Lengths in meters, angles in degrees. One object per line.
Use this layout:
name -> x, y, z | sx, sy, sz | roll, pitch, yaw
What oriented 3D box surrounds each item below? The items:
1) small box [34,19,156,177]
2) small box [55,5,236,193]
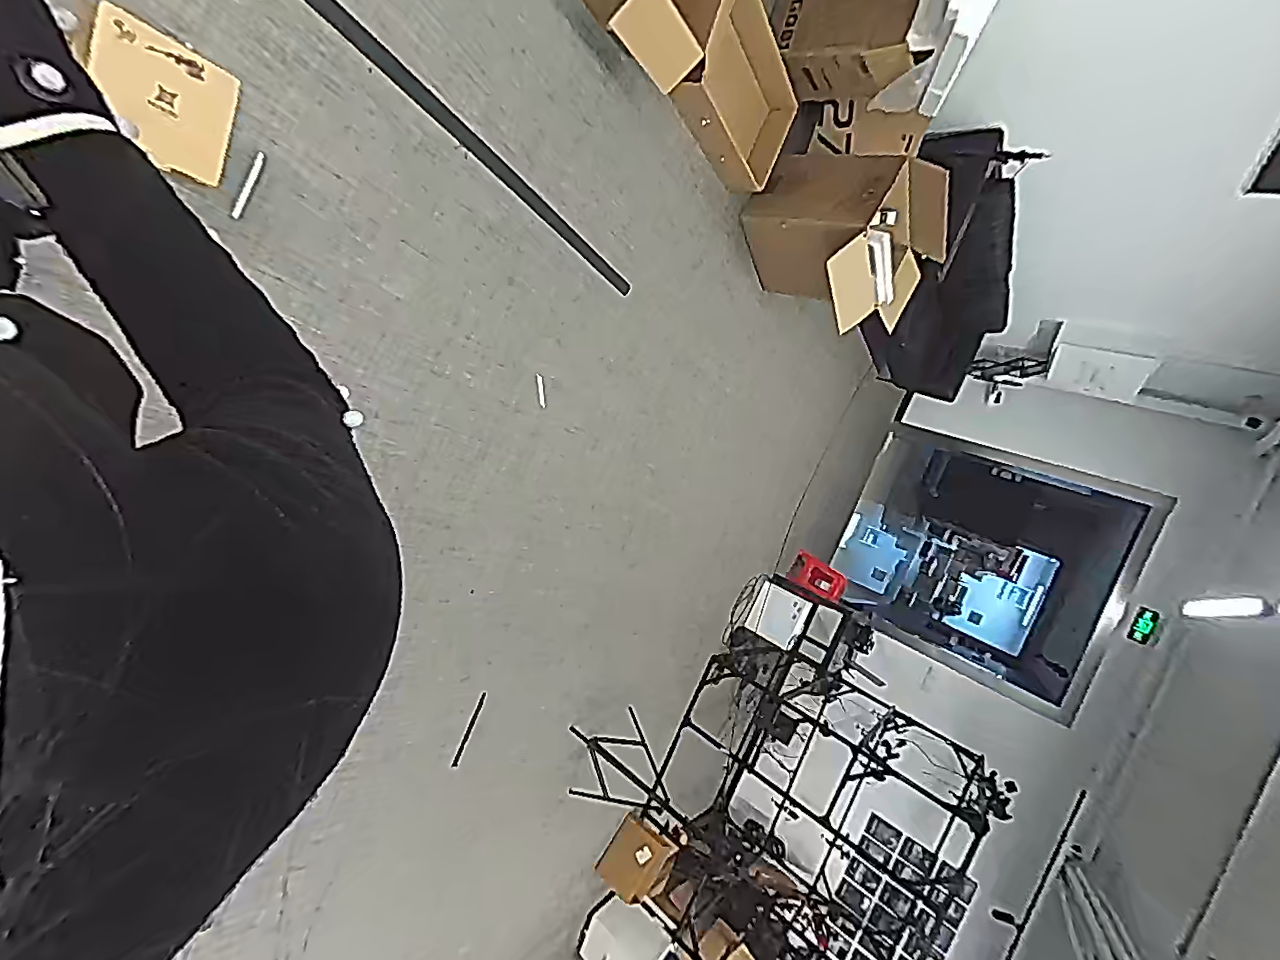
small box -> -0.899, -0.647, 0.941 | 0.179, 0.176, 0.168 | 12, 100, -56
small box -> -0.779, -0.583, 0.849 | 0.168, 0.176, 0.179 | 9, 103, -56
